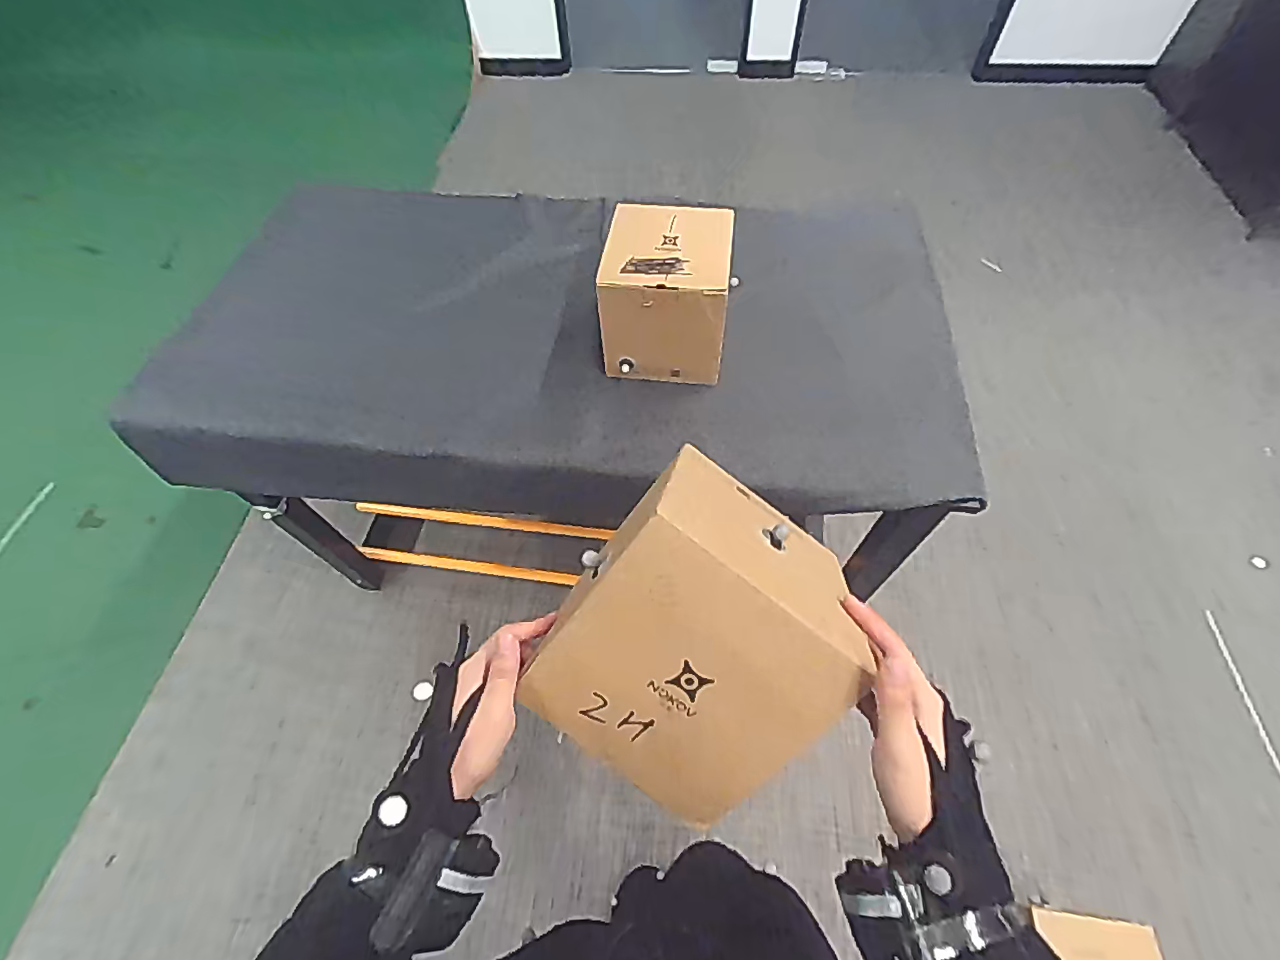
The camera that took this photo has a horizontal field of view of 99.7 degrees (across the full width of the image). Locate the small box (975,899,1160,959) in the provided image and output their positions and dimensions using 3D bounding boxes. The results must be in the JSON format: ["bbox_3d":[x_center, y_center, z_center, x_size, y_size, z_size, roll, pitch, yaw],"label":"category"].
[{"bbox_3d":[0.625,0.740,0.786,0.168,0.176,0.179,6,57,4],"label":"small box"}]

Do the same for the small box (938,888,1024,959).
[{"bbox_3d":[0.634,0.829,0.922,0.168,0.176,0.179,7,60,6],"label":"small box"}]

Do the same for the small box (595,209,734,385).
[{"bbox_3d":[0.039,-0.256,0.772,0.168,0.176,0.179,6,57,6],"label":"small box"}]
